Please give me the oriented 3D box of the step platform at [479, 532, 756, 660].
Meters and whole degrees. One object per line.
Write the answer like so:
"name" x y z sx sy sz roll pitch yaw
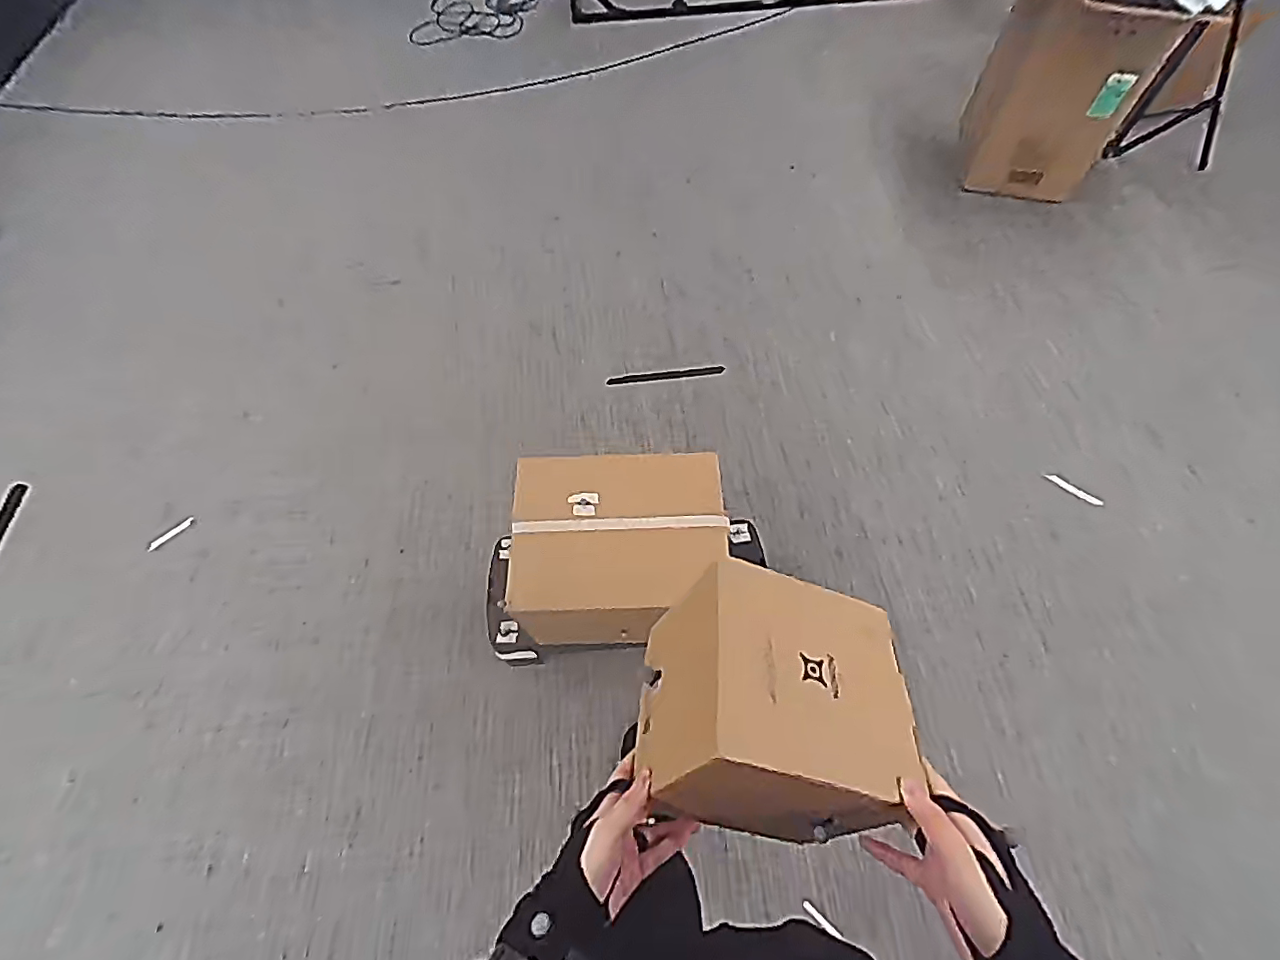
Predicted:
"step platform" -0.042 0.289 1.340 0.684 0.204 0.286 0 62 3

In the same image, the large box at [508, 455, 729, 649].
"large box" -0.029 0.165 1.135 0.408 0.320 0.320 -3 61 2

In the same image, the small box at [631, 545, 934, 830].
"small box" 0.110 0.190 0.476 0.179 0.176 0.168 20 45 -11
